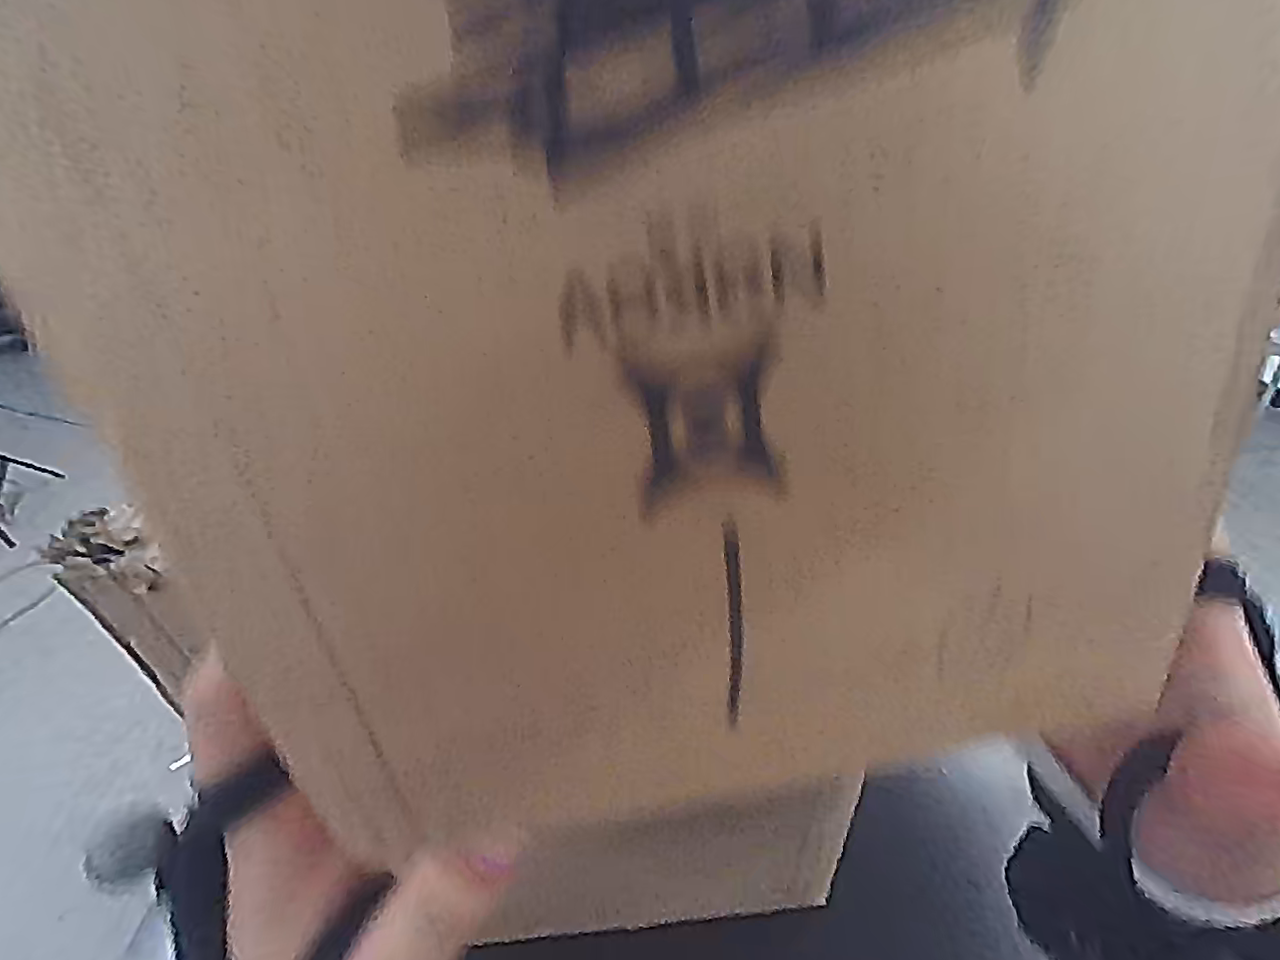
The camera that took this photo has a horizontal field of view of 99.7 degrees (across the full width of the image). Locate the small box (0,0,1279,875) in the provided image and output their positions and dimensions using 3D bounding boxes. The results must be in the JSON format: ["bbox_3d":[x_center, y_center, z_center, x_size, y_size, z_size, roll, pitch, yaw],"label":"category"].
[{"bbox_3d":[0.001,-0.044,0.152,0.168,0.179,0.176,-10,23,-1],"label":"small box"}]
